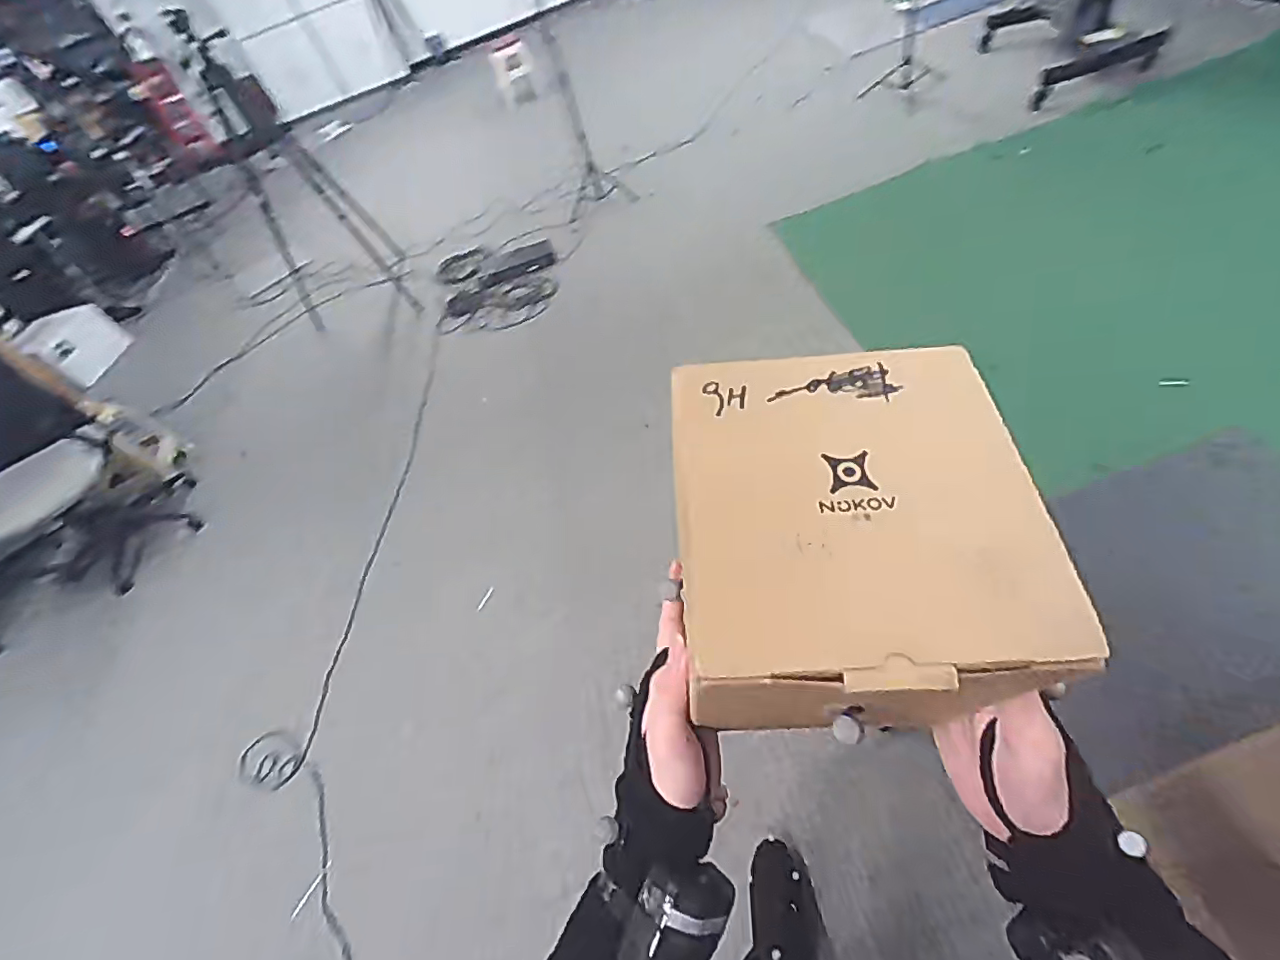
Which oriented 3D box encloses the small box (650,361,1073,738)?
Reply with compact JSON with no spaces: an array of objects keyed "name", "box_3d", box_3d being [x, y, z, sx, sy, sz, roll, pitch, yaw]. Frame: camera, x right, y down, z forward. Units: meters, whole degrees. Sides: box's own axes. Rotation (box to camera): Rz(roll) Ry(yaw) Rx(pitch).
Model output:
[{"name":"small box","box_3d":[0.095,0.055,0.325,0.168,0.176,0.179,-3,59,4]}]
